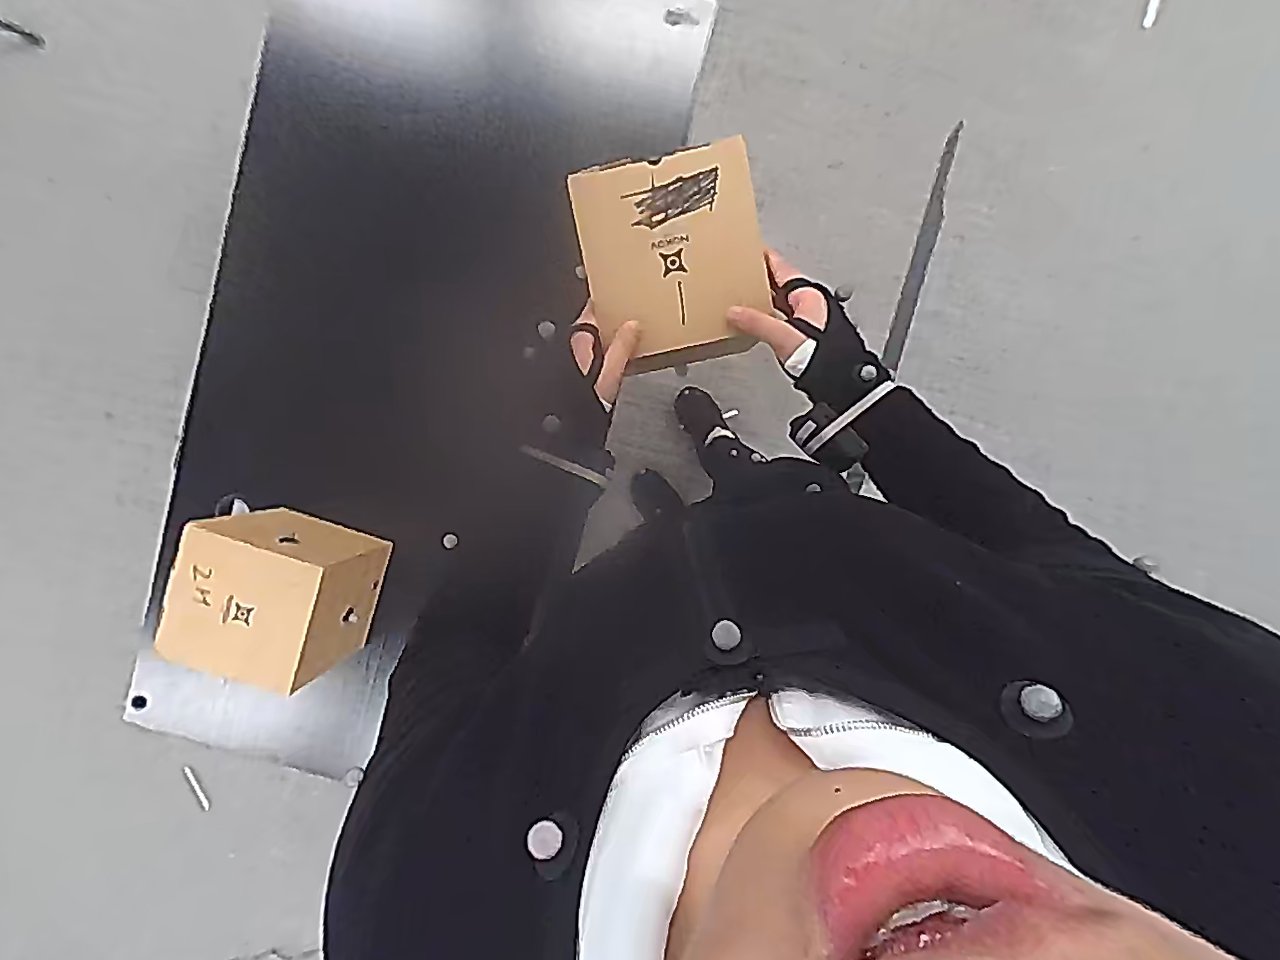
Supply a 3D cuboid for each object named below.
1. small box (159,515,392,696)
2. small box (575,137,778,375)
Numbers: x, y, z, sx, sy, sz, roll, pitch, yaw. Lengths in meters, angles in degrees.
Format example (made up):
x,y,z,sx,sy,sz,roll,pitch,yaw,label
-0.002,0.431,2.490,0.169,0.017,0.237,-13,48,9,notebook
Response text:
x,y,z,sx,sy,sz,roll,pitch,yaw,label
-0.463,0.151,0.716,0.179,0.176,0.168,17,93,2,small box
0.037,-0.219,0.576,0.168,0.176,0.179,-11,96,4,small box
